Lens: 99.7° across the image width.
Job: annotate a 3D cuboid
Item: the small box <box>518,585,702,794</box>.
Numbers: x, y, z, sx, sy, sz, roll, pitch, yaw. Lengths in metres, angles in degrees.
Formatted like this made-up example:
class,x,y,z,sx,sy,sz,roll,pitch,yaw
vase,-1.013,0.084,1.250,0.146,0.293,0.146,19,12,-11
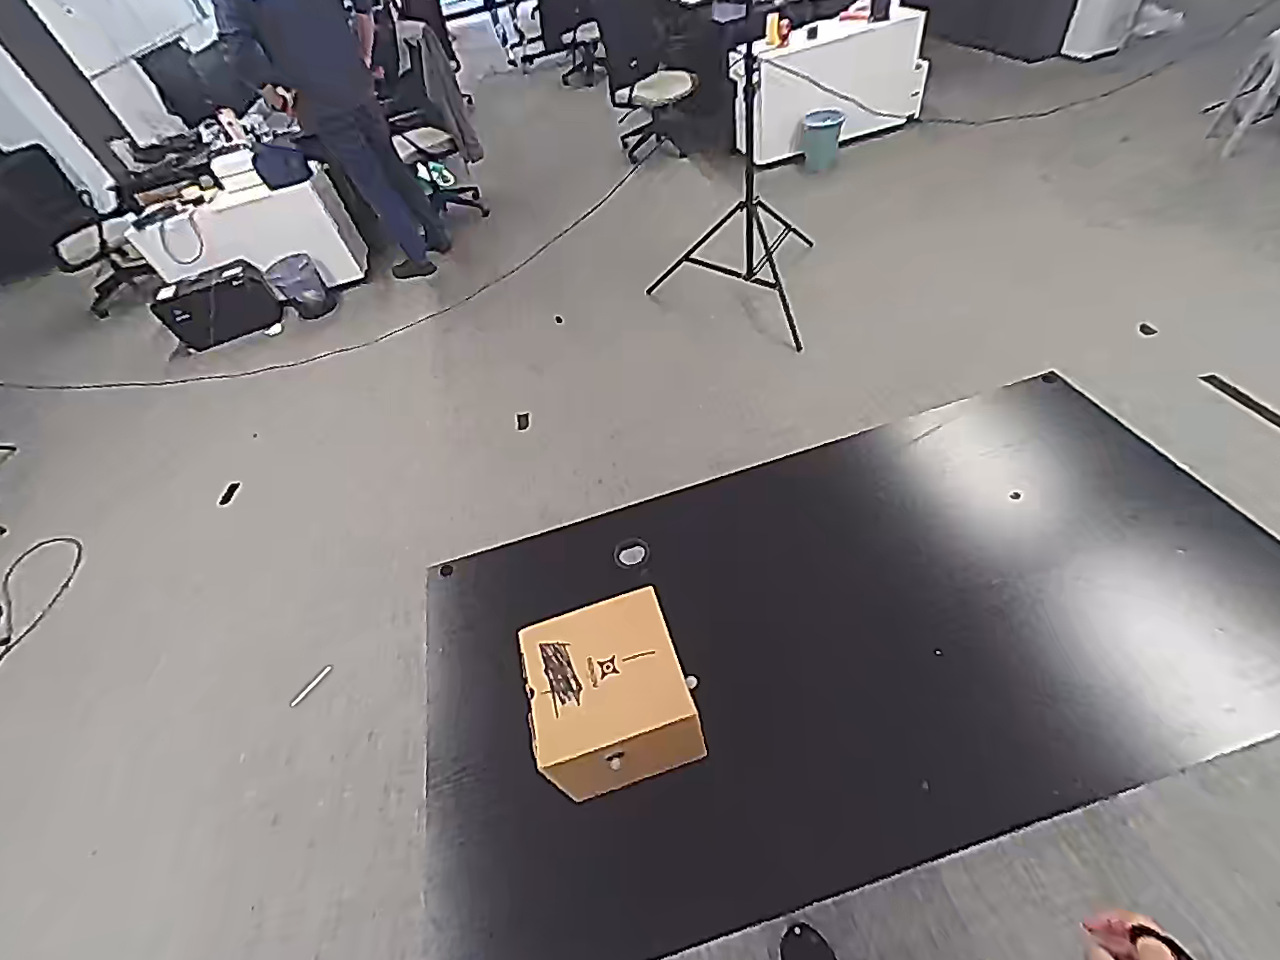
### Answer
class,x,y,z,sx,sy,sz,roll,pitch,yaw
small box,-0.034,0.263,0.670,0.179,0.176,0.168,-17,49,-4
